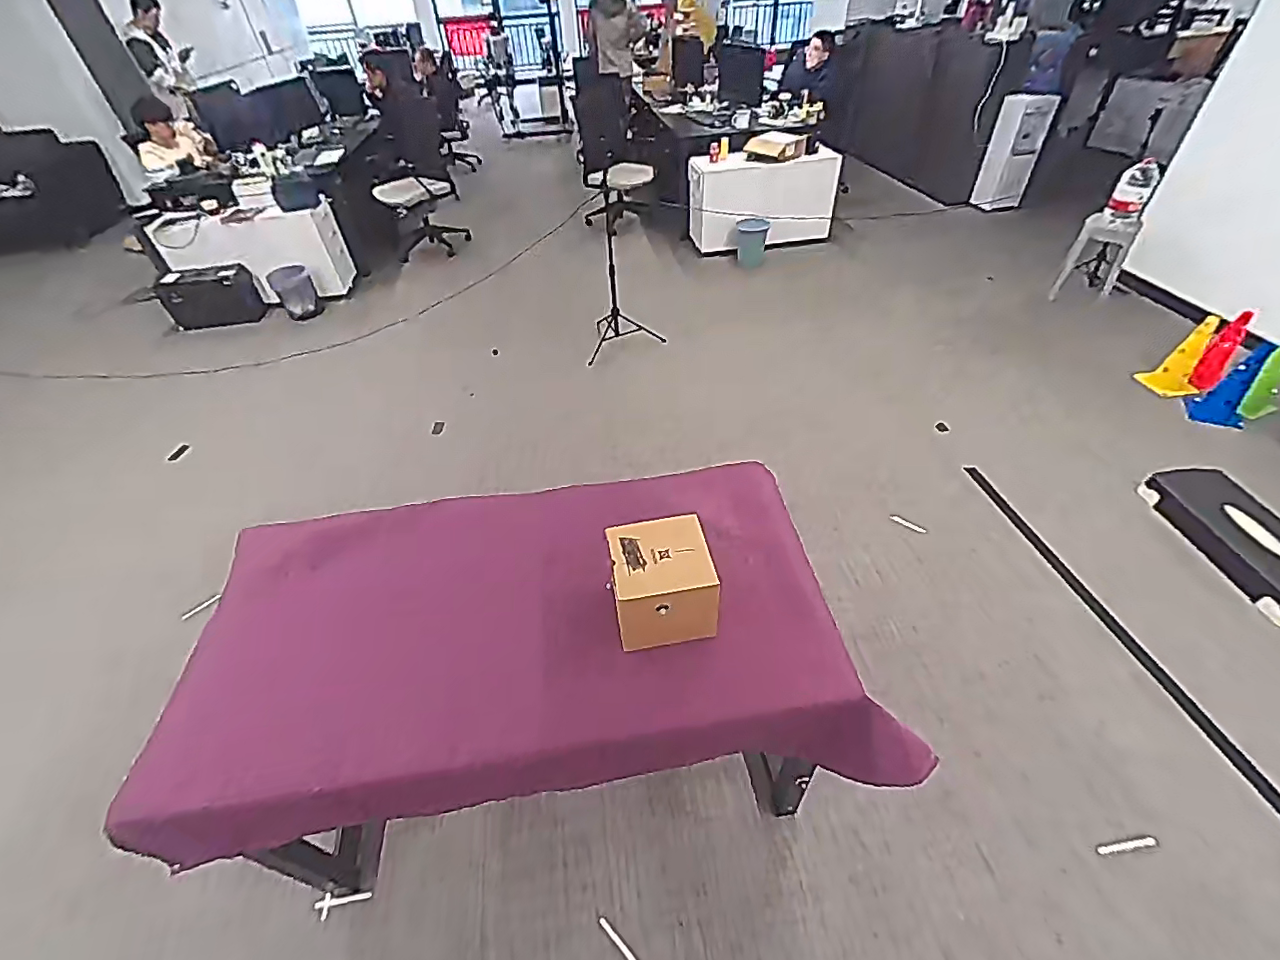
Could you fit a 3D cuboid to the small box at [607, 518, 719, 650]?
[{"bbox_3d":[0.041,0.195,1.003,0.179,0.176,0.168,-8,43,-5],"label":"small box"}]
